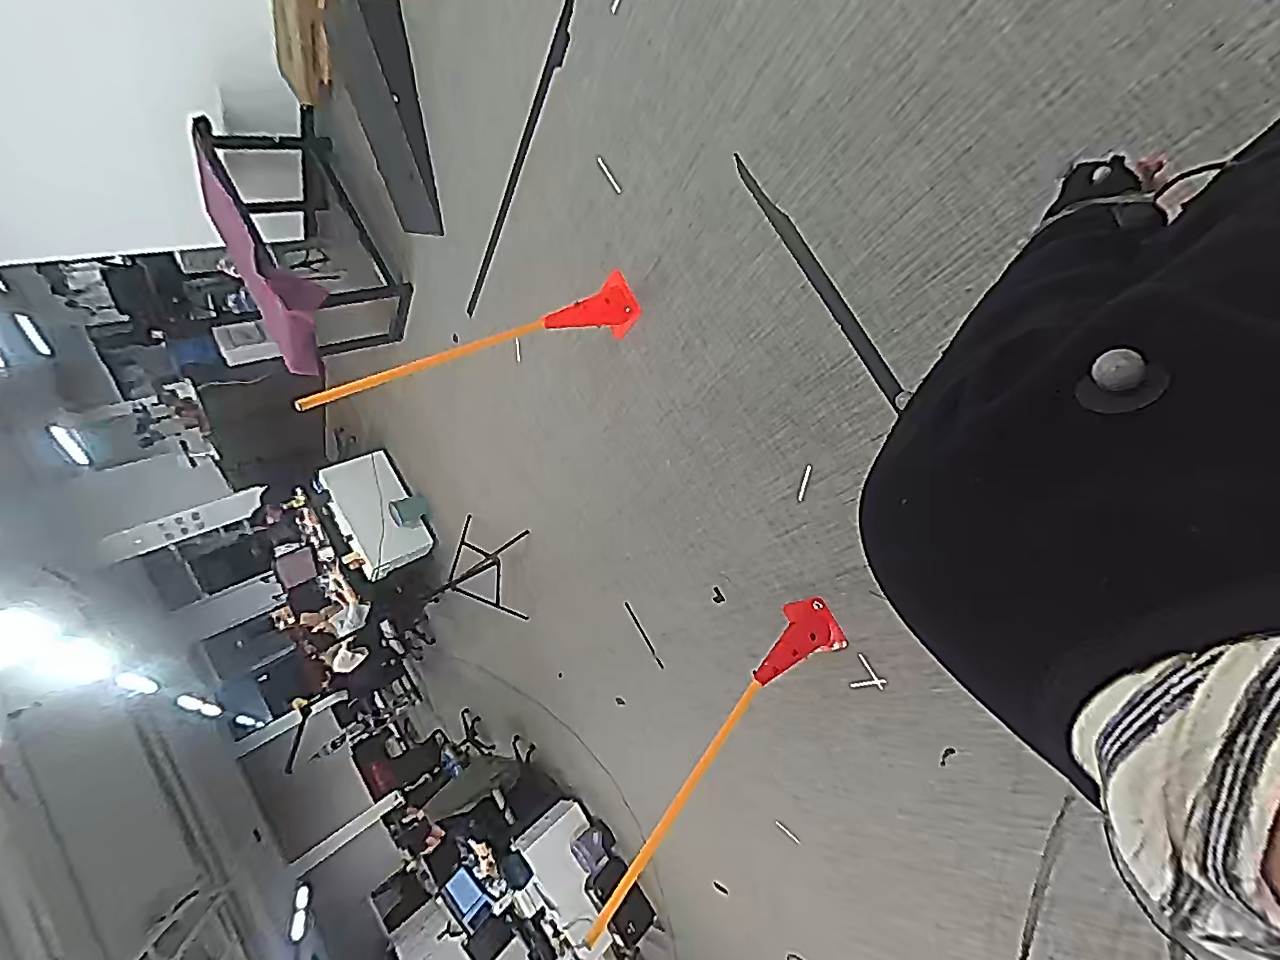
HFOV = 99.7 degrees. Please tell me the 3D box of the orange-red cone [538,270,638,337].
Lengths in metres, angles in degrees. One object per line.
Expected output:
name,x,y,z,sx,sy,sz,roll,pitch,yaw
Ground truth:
orange-red cone,-0.217,-0.617,1.985,0.198,0.360,0.199,-33,84,53
